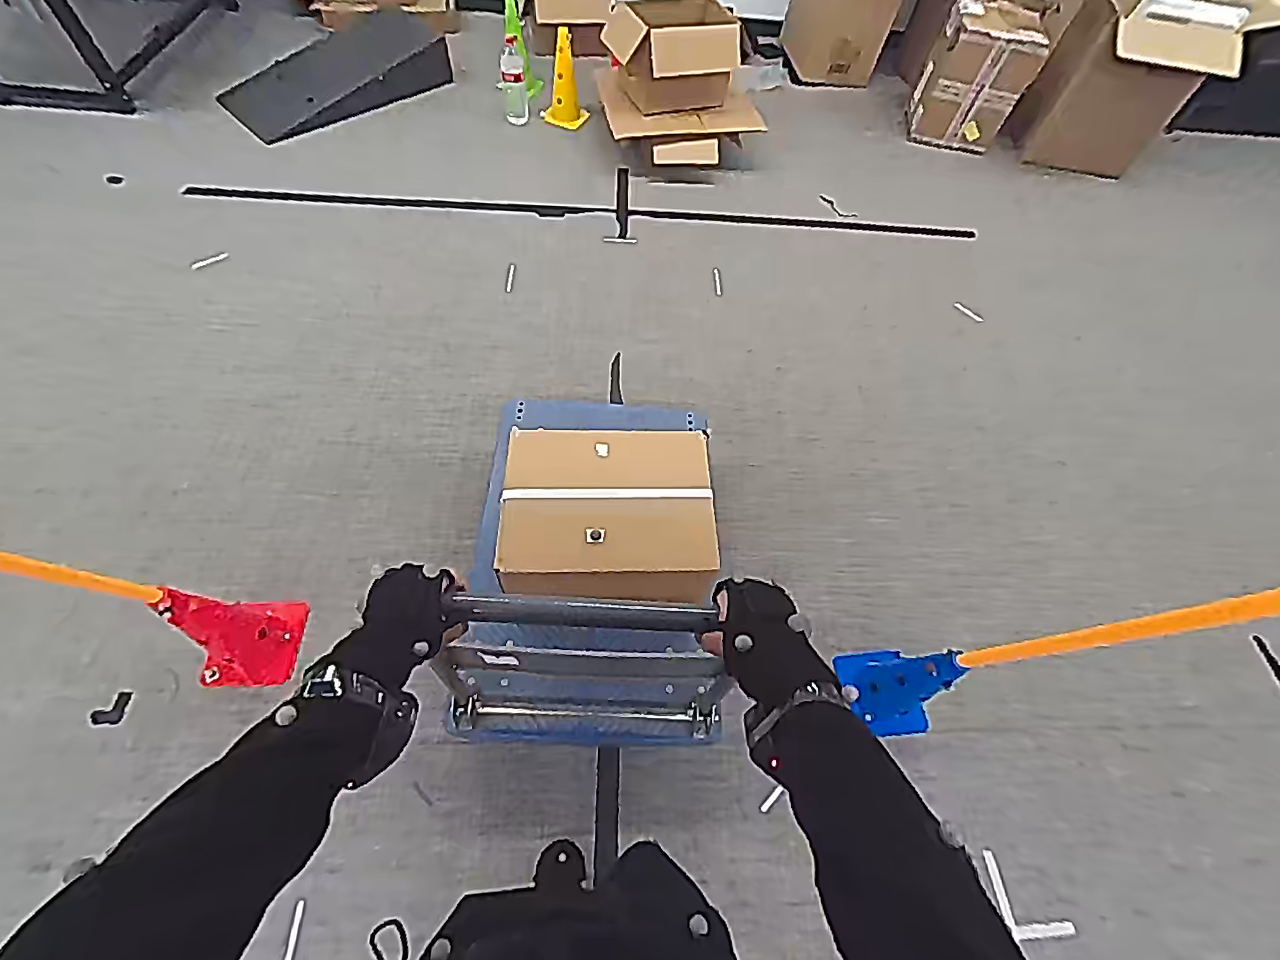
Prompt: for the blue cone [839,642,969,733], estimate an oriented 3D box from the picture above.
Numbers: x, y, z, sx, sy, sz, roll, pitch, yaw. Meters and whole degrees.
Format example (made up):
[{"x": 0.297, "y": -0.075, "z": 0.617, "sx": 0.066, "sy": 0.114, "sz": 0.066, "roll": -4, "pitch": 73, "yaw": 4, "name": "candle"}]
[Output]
[{"x": 0.627, "y": 0.446, "z": 1.227, "sx": 0.193, "sy": 0.380, "sz": 0.192, "roll": -2, "pitch": 58, "yaw": -7, "name": "blue cone"}]
